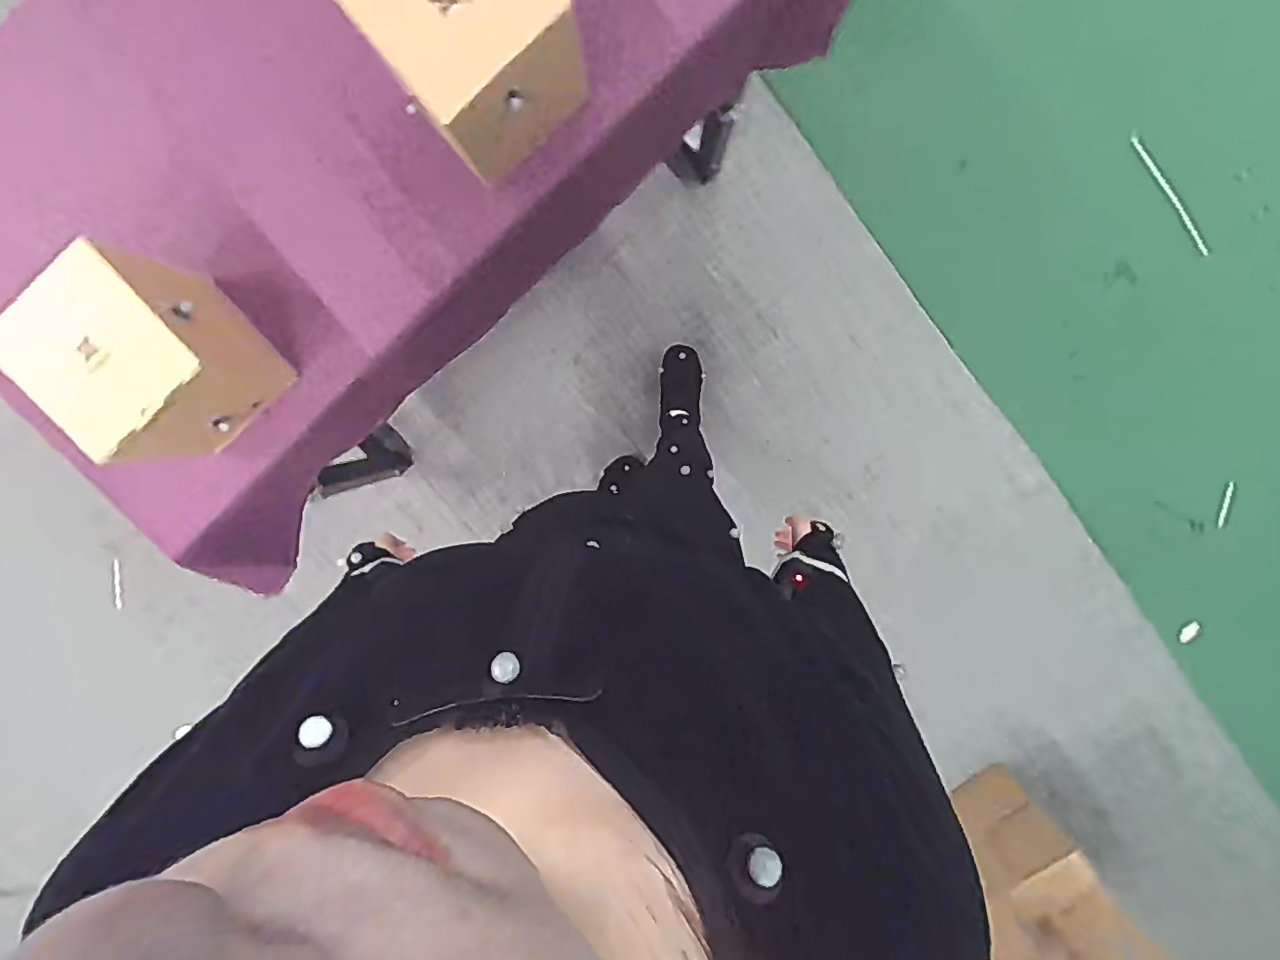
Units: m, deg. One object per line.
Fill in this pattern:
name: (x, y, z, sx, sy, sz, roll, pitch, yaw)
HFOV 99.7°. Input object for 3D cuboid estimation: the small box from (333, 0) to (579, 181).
small box: (-0.185, -0.480, 0.605, 0.179, 0.176, 0.168, -41, 96, 5)

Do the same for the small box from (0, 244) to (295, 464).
small box: (-0.578, -0.140, 0.652, 0.168, 0.176, 0.179, -41, 97, 5)
